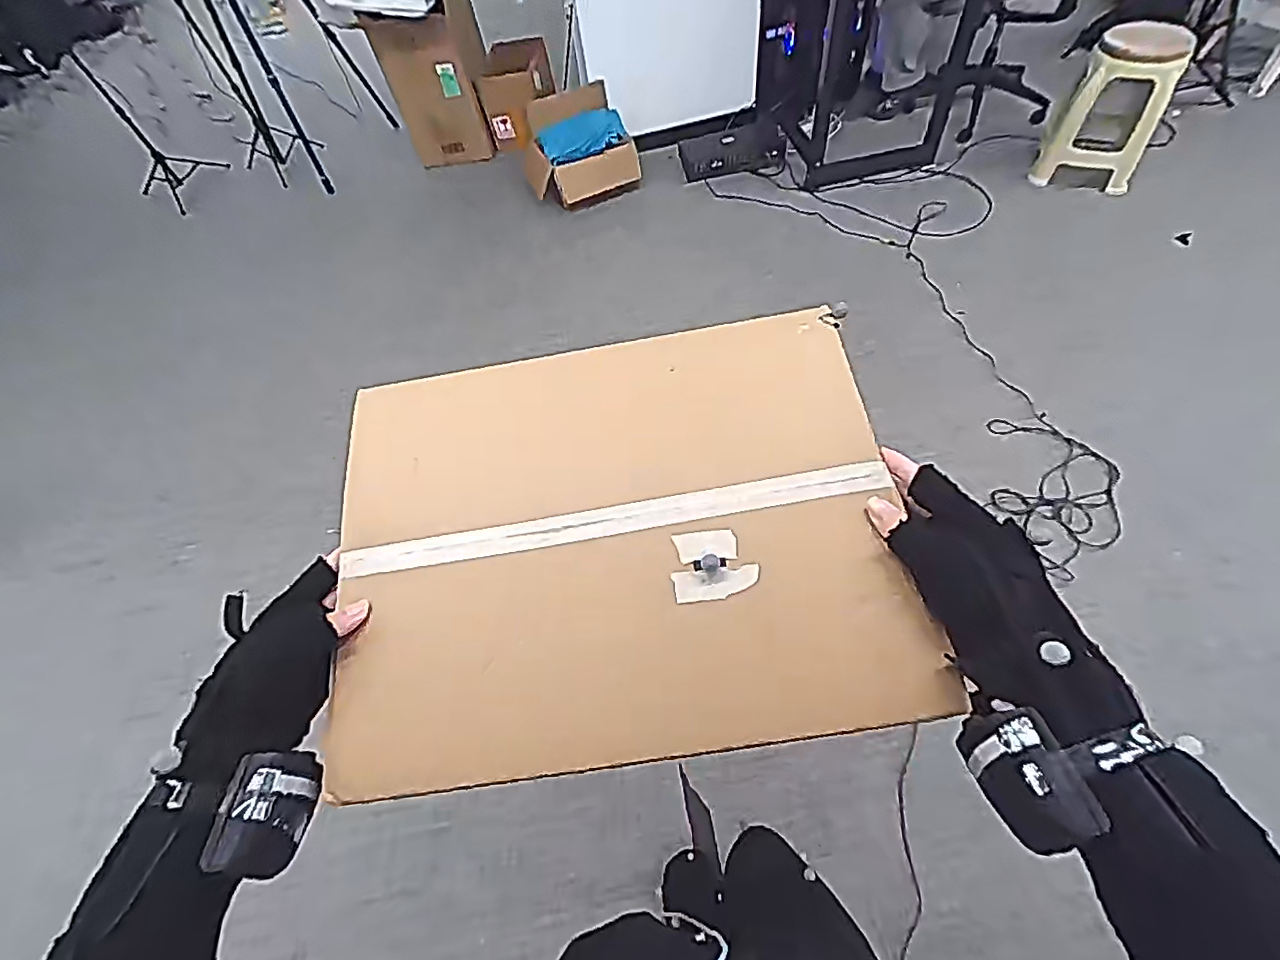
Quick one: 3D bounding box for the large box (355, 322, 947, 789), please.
[{"bbox_3d":[-0.003,0.094,0.548,0.408,0.320,0.320,-10,66,2],"label":"large box"}]
